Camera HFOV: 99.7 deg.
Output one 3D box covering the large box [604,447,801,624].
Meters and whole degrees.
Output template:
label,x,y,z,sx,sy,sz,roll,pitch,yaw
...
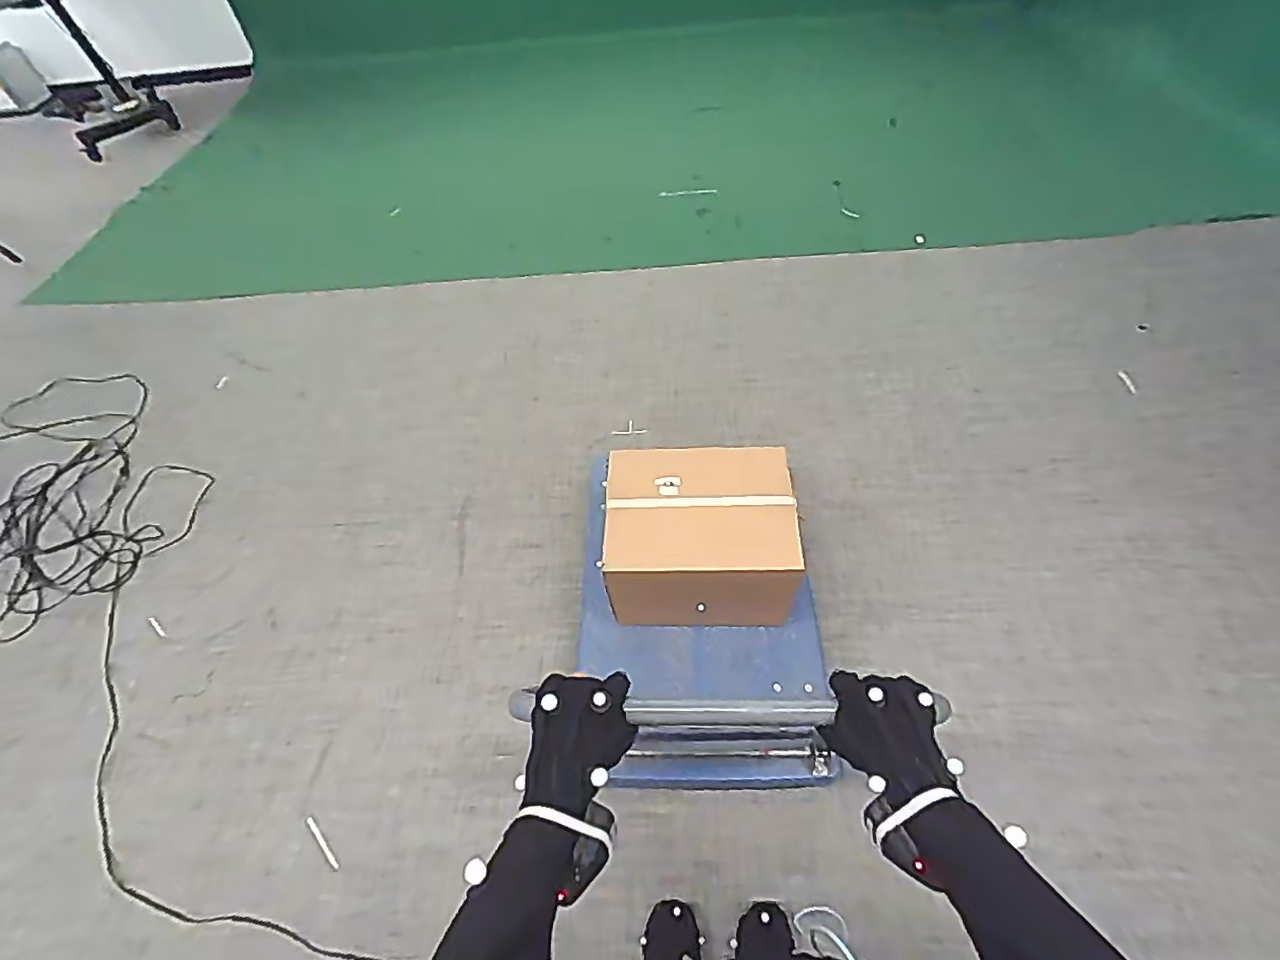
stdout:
label,x,y,z,sx,sy,sz,roll,pitch,yaw
large box,0.139,0.143,1.291,0.408,0.320,0.320,-2,54,5
